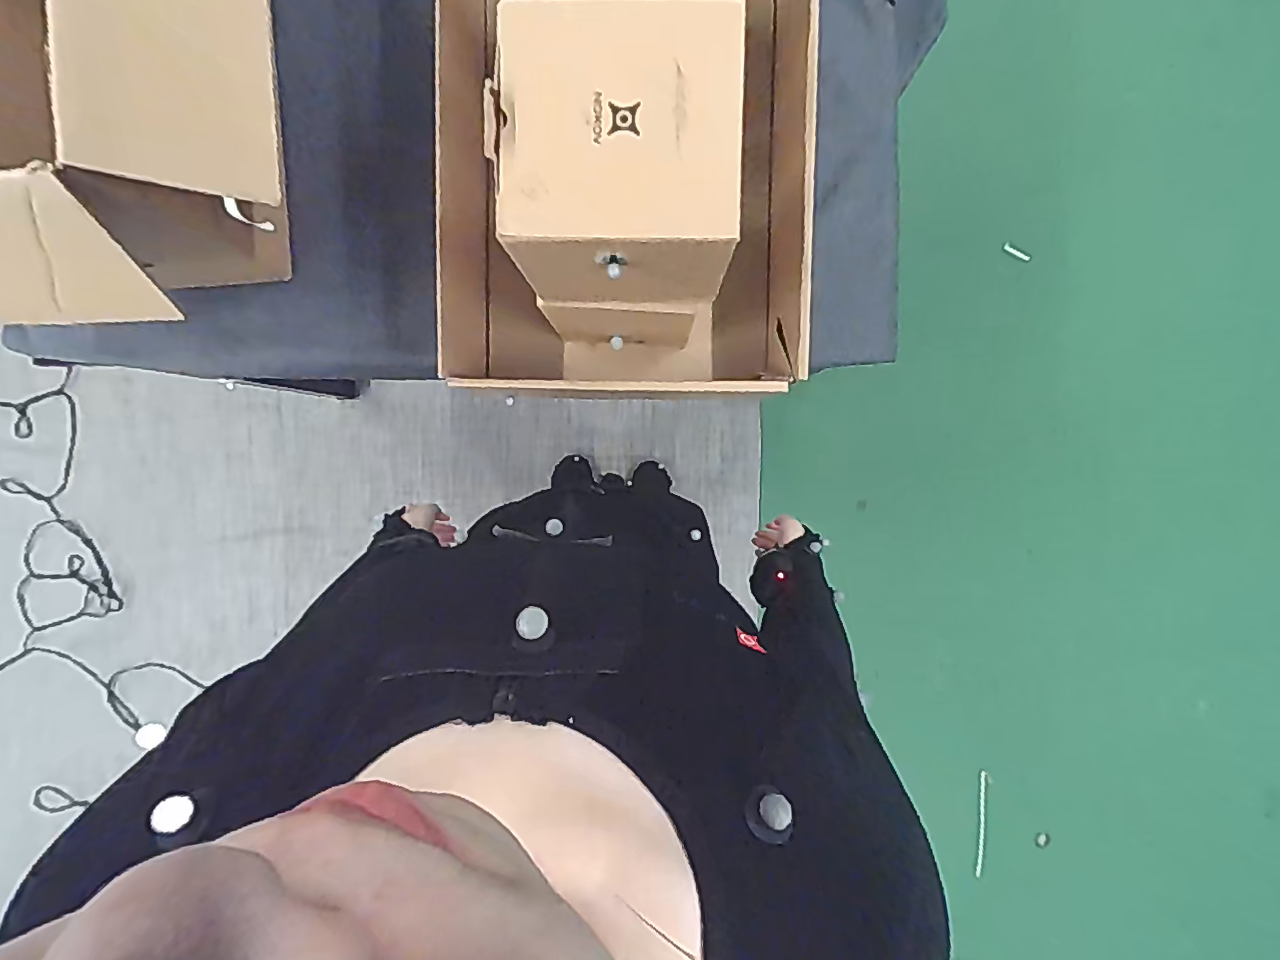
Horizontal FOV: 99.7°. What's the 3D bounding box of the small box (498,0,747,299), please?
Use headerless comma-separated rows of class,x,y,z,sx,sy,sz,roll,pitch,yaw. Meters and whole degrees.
small box,-0.011,-0.259,0.462,0.179,0.176,0.168,1,94,1
